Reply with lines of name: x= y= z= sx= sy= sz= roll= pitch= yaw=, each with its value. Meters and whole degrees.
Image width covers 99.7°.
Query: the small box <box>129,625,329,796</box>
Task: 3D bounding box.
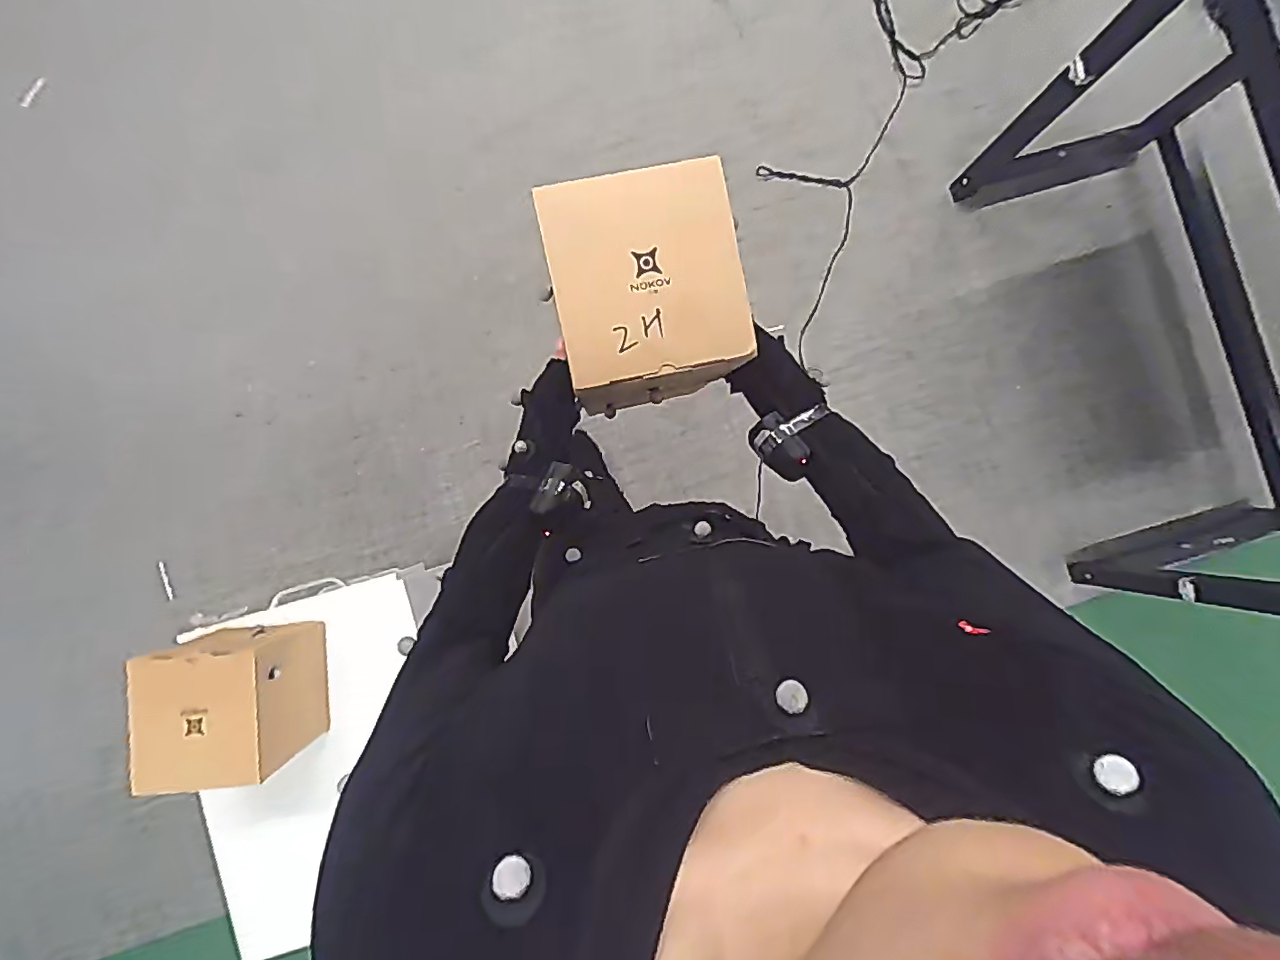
small box: x=-0.571 y=0.318 z=0.774 sx=0.168 sy=0.176 sz=0.179 roll=-4 pitch=87 yaw=-1

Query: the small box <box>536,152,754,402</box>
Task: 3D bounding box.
small box: x=0.000 y=-0.185 z=0.543 sx=0.168 sy=0.176 sz=0.179 roll=-11 pitch=93 yaw=-3
